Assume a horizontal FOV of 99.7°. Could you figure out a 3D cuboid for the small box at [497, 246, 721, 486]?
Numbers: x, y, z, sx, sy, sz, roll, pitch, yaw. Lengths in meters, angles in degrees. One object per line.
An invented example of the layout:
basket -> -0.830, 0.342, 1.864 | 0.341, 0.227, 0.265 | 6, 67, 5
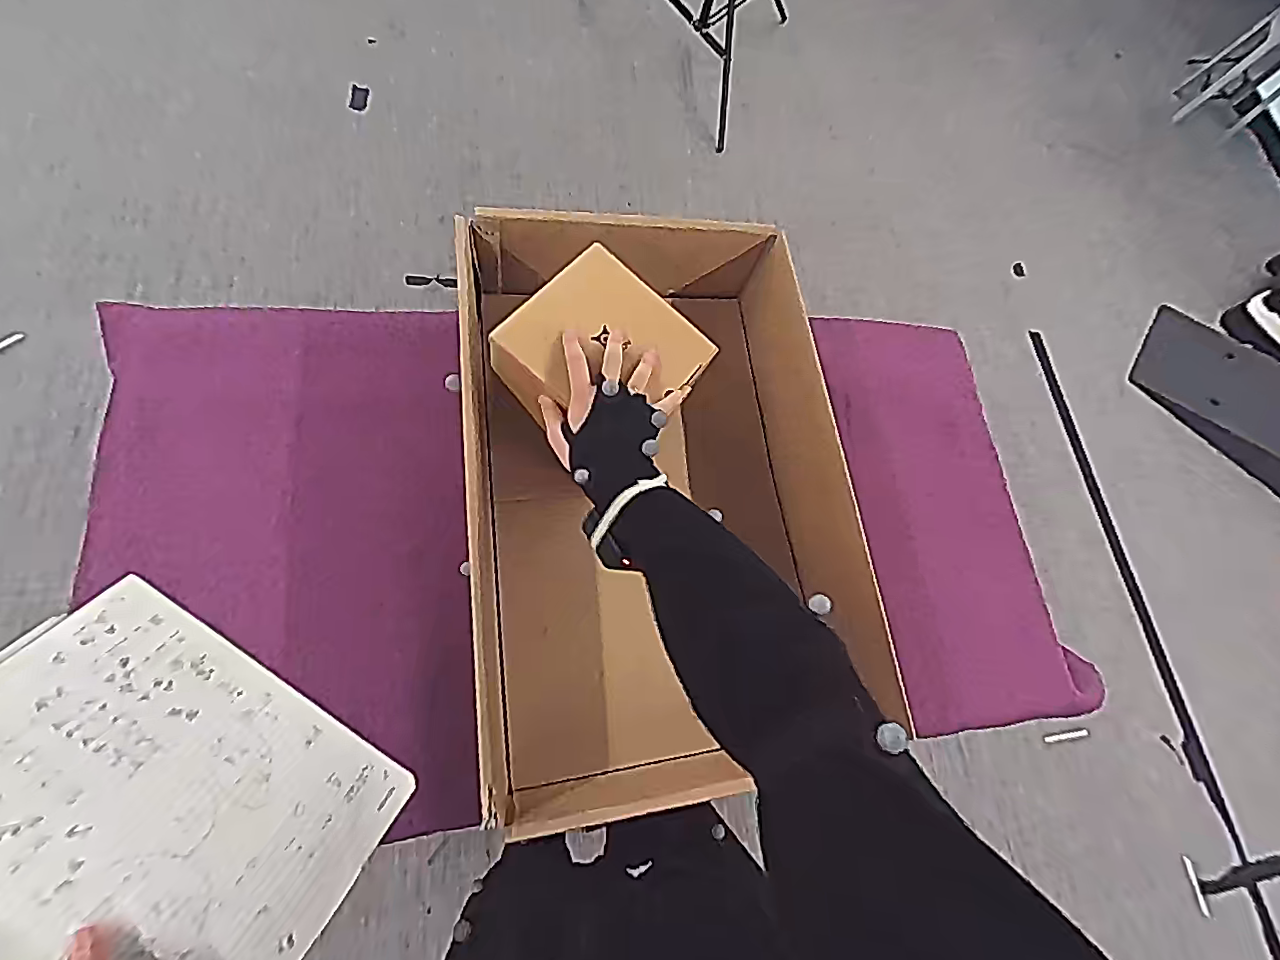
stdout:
small box -> -0.046, -0.118, 0.623 | 0.179, 0.176, 0.168 | 42, 69, 0
